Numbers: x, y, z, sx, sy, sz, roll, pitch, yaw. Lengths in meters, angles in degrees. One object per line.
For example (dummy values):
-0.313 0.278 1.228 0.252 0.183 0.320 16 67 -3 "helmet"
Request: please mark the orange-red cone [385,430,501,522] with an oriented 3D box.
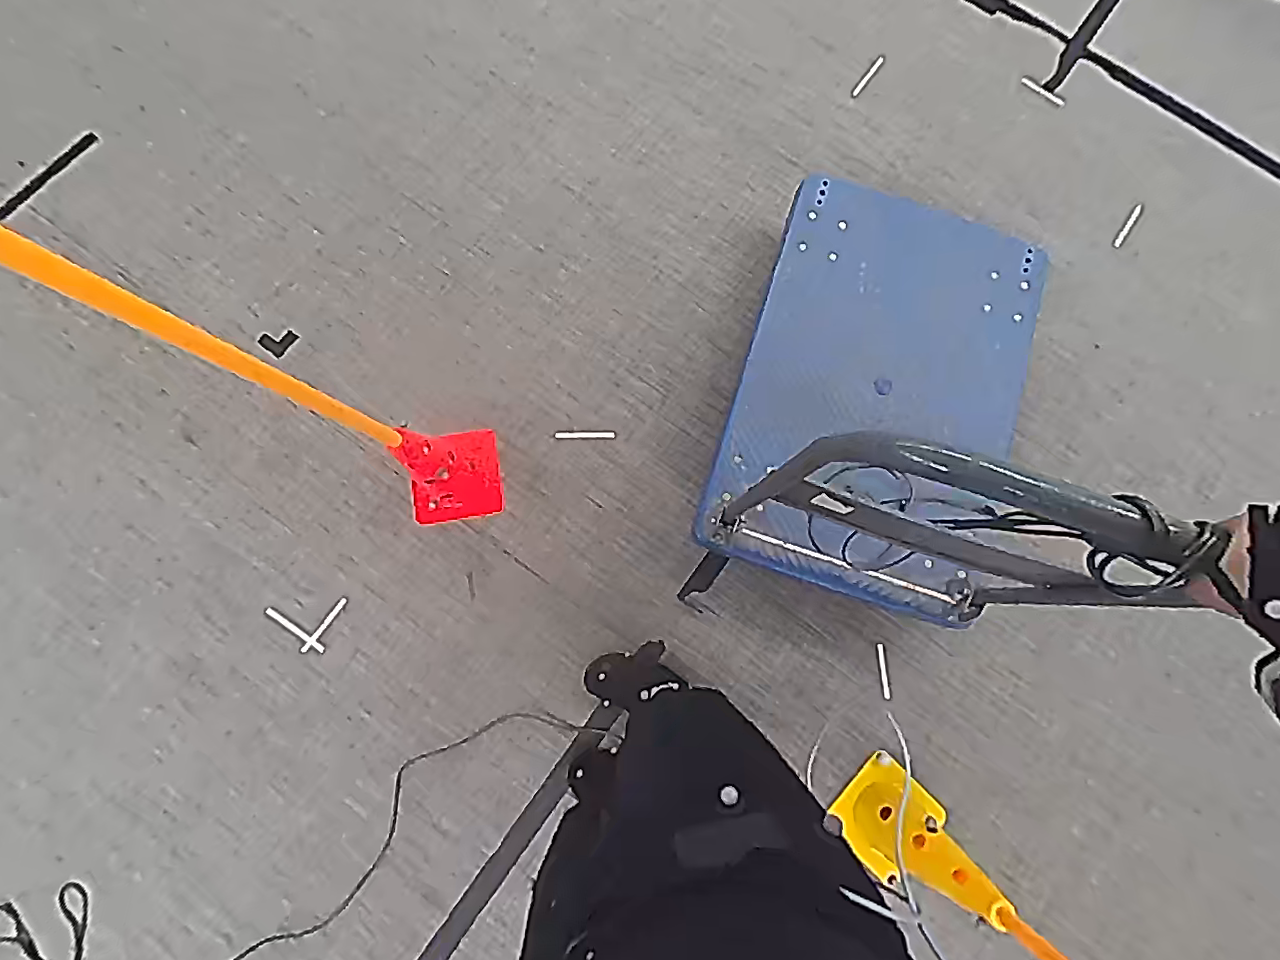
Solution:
-0.407 -0.038 1.052 0.199 0.360 0.198 -8 81 -6 "orange-red cone"
